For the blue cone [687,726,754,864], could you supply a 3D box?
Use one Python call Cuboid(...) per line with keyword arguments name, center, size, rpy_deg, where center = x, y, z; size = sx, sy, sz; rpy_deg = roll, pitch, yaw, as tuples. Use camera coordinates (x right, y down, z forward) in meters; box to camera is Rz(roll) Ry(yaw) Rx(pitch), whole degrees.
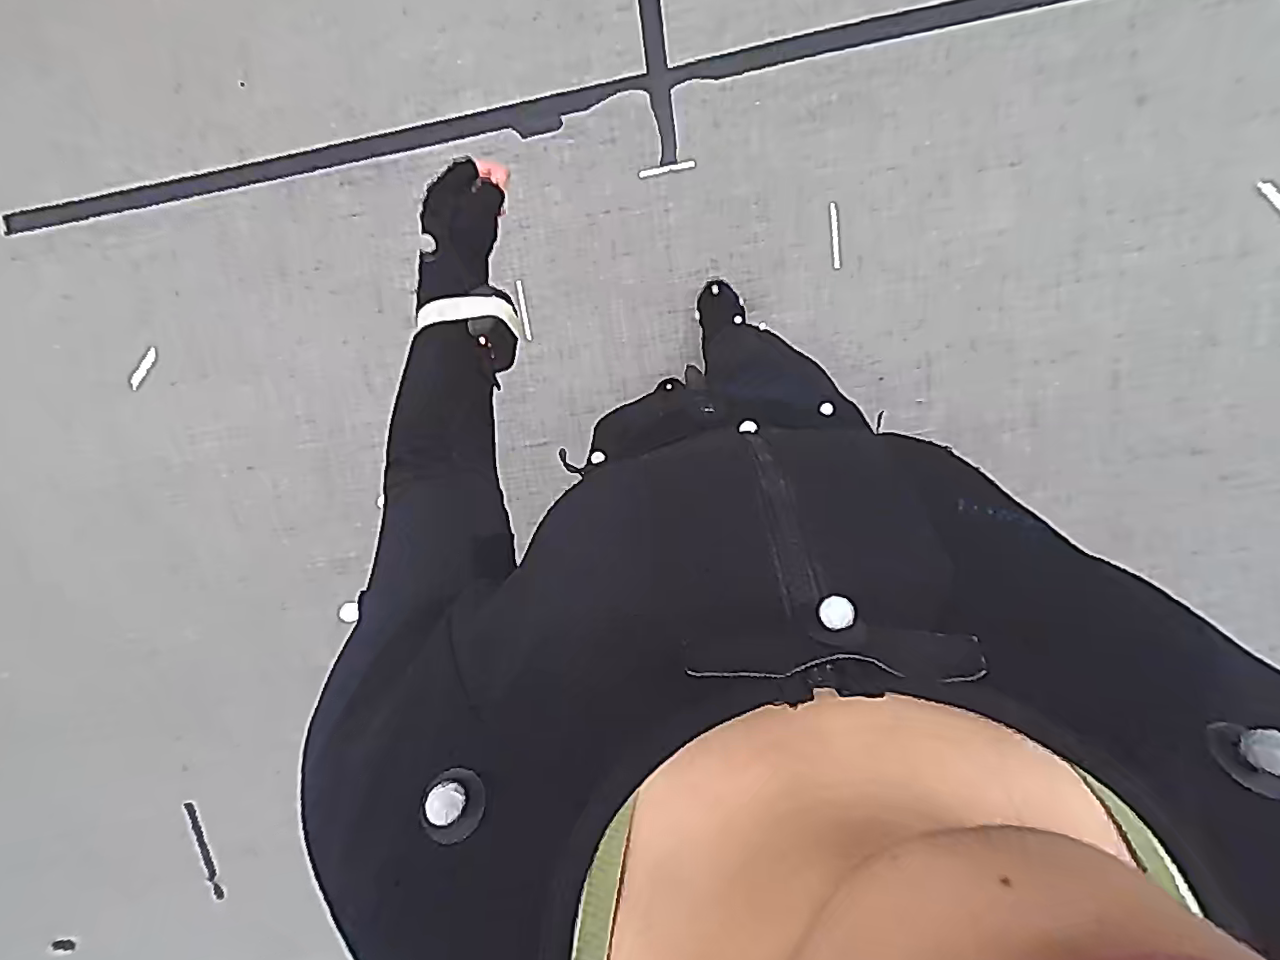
Cuboid(name="blue cone", center=(0.238, 0.877, 1.483), size=(0.193, 0.380, 0.192), rpy_deg=(-9, 103, 6))
